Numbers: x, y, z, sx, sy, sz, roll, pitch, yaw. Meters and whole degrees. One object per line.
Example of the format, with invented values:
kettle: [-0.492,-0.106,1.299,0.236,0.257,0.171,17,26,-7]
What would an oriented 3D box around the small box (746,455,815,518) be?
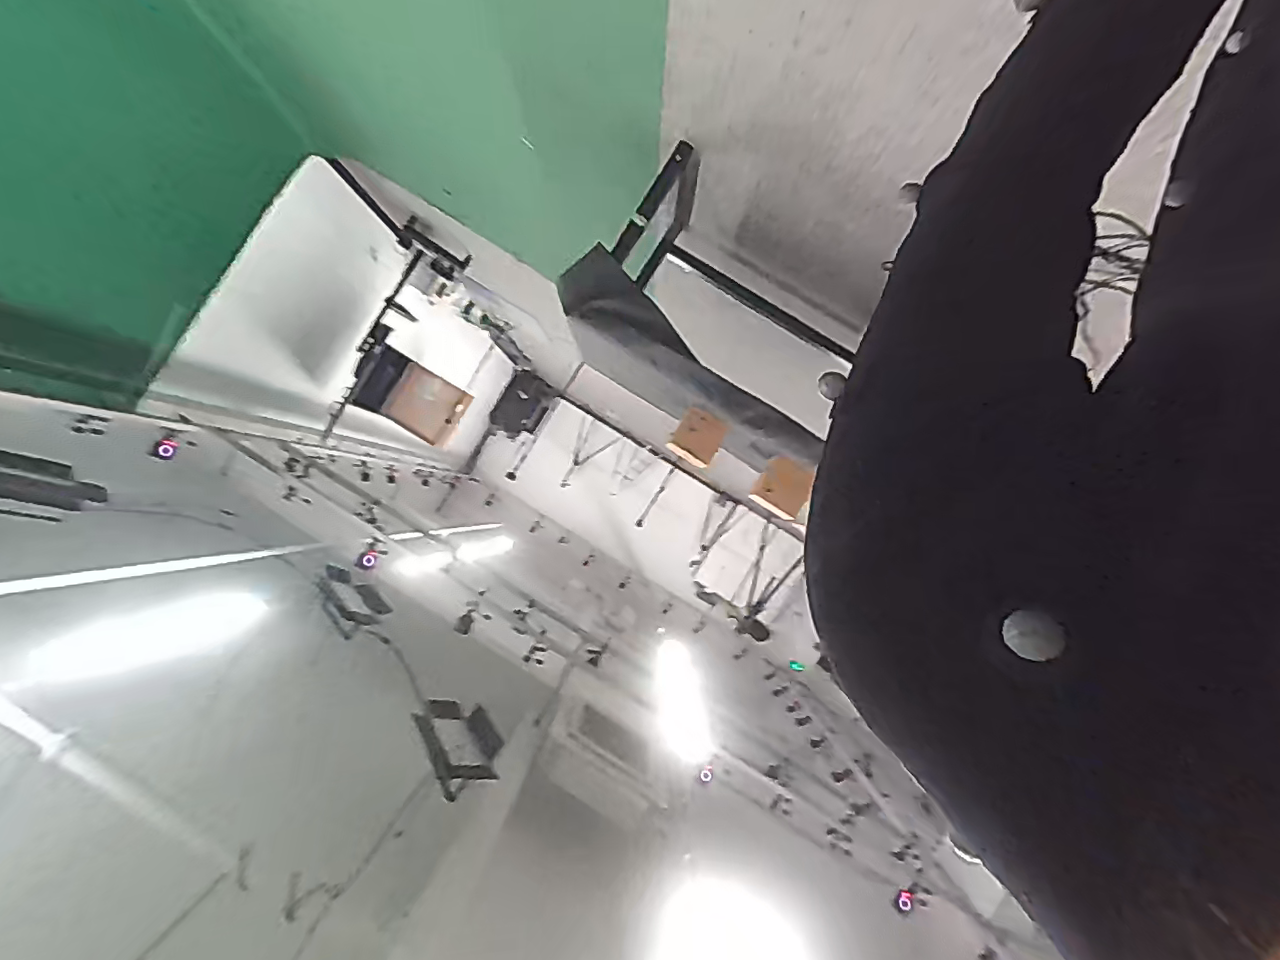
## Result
small box: [0.521,0.025,2.004,0.179,0.176,0.168,32,178,3]

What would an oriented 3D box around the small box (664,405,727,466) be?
small box: [0.209,-0.167,2.038,0.168,0.176,0.179,33,179,-2]
